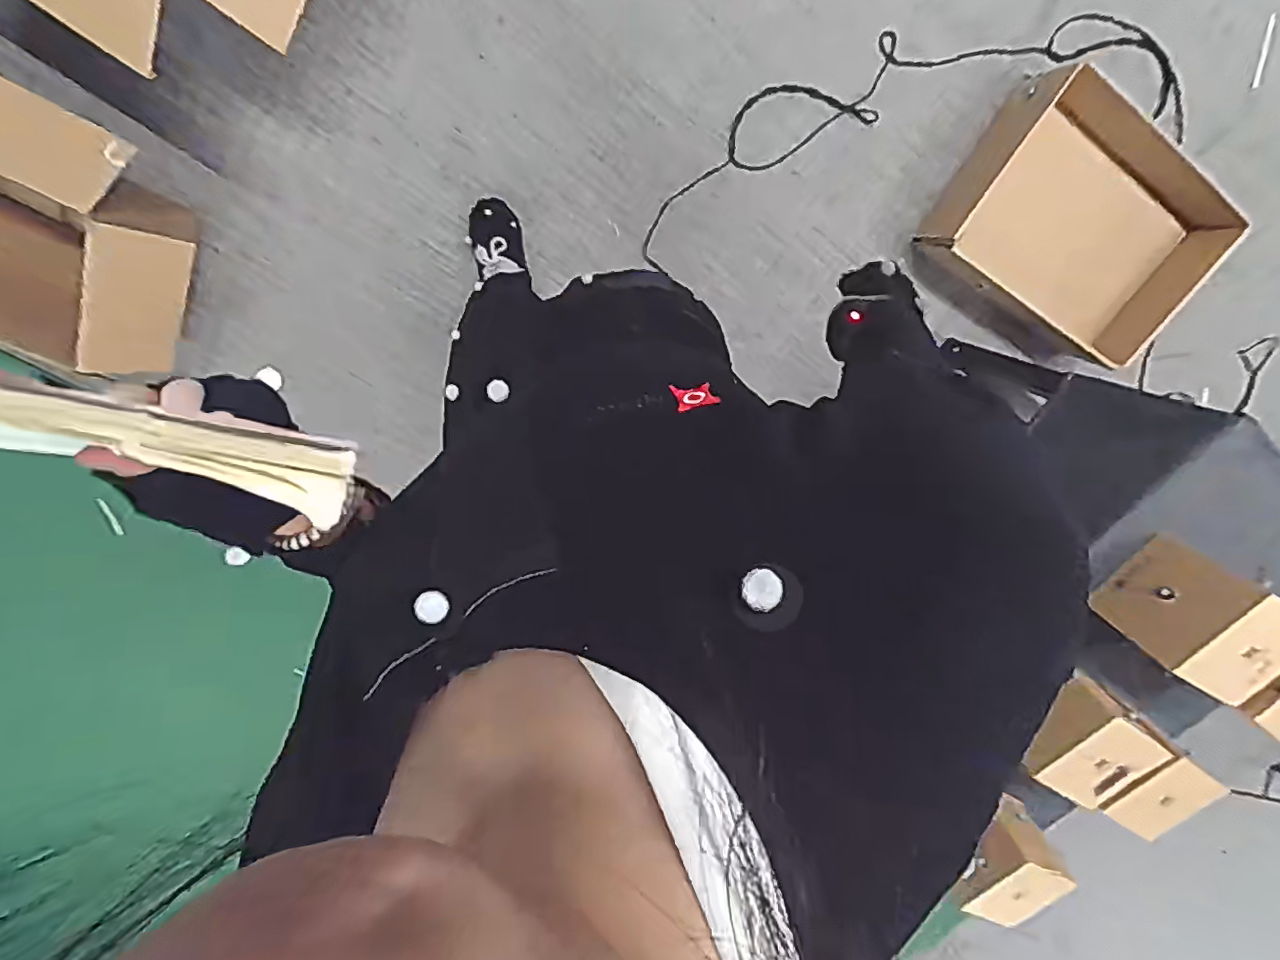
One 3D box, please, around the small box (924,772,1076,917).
[{"bbox_3d":[0.734,0.756,1.130,0.168,0.176,0.179,30,109,-18],"label":"small box"}]
